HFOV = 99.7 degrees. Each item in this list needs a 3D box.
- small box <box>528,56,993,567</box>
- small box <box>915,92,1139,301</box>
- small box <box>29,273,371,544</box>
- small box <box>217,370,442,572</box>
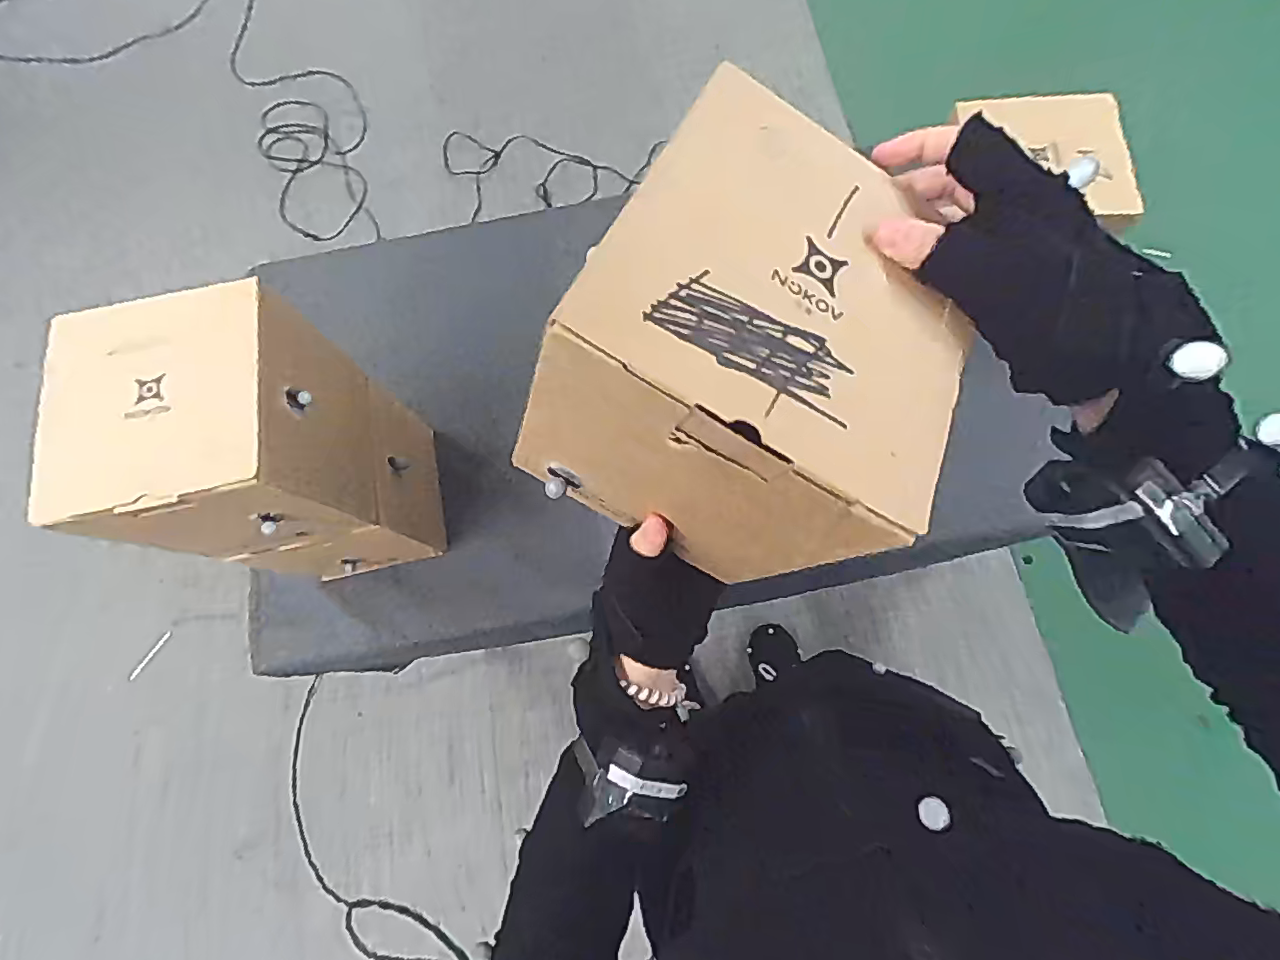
[{"bbox_3d":[0.049,-0.068,0.304,0.168,0.176,0.179,30,66,-7],"label":"small box"},{"bbox_3d":[0.451,-0.341,0.676,0.179,0.176,0.168,1,75,4],"label":"small box"},{"bbox_3d":[-0.360,-0.046,0.479,0.168,0.176,0.179,-11,74,-1],"label":"small box"},{"bbox_3d":[-0.351,0.000,0.635,0.168,0.176,0.179,-13,74,0],"label":"small box"}]
